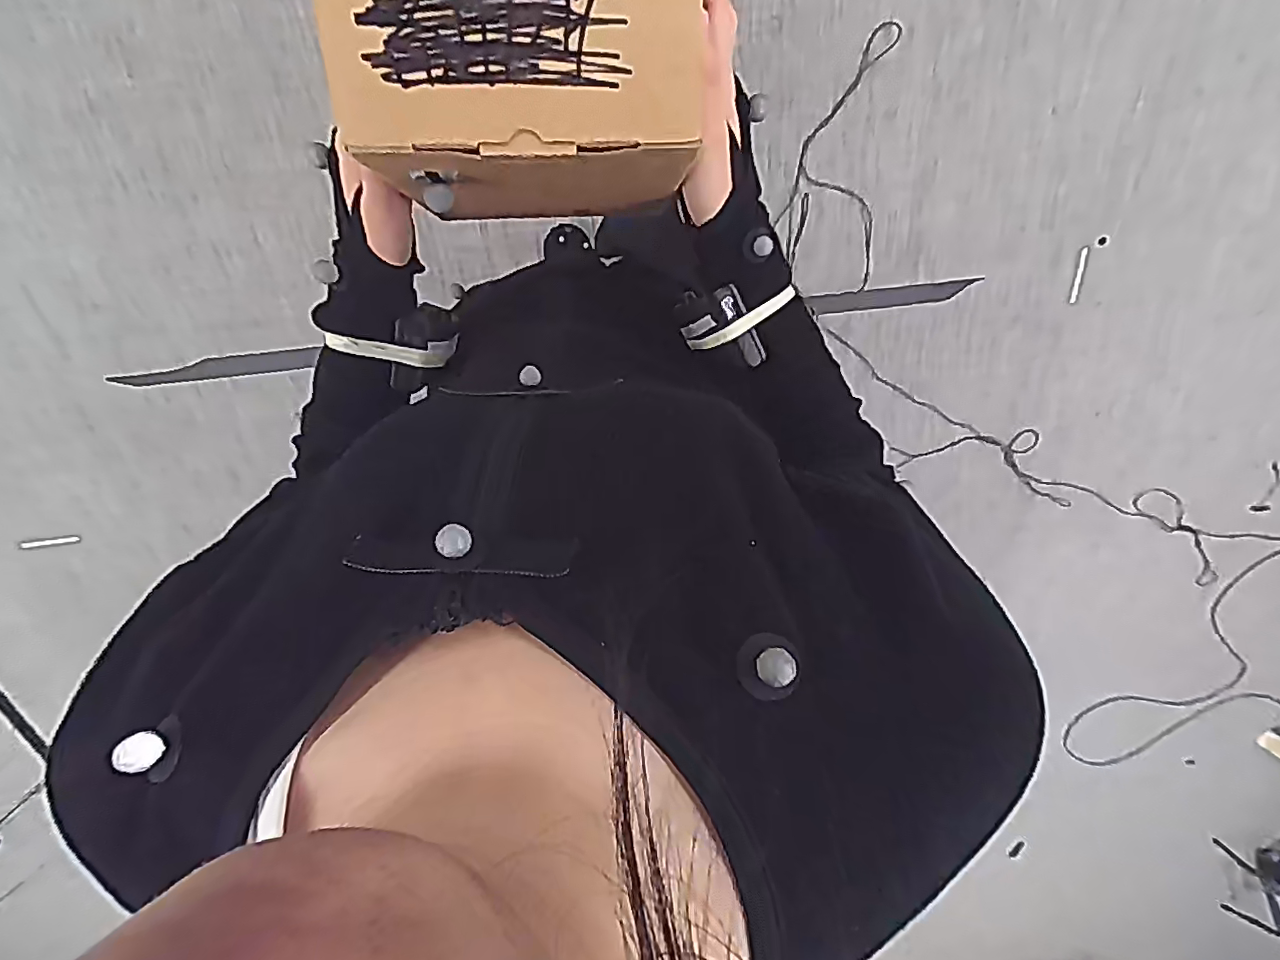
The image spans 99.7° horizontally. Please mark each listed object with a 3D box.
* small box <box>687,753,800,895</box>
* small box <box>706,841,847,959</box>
[{"bbox_3d":[0.187,0.644,0.999,0.168,0.176,0.179,-10,116,-2],"label":"small box"},{"bbox_3d":[0.206,0.714,0.854,0.179,0.176,0.168,-12,118,-2],"label":"small box"}]
